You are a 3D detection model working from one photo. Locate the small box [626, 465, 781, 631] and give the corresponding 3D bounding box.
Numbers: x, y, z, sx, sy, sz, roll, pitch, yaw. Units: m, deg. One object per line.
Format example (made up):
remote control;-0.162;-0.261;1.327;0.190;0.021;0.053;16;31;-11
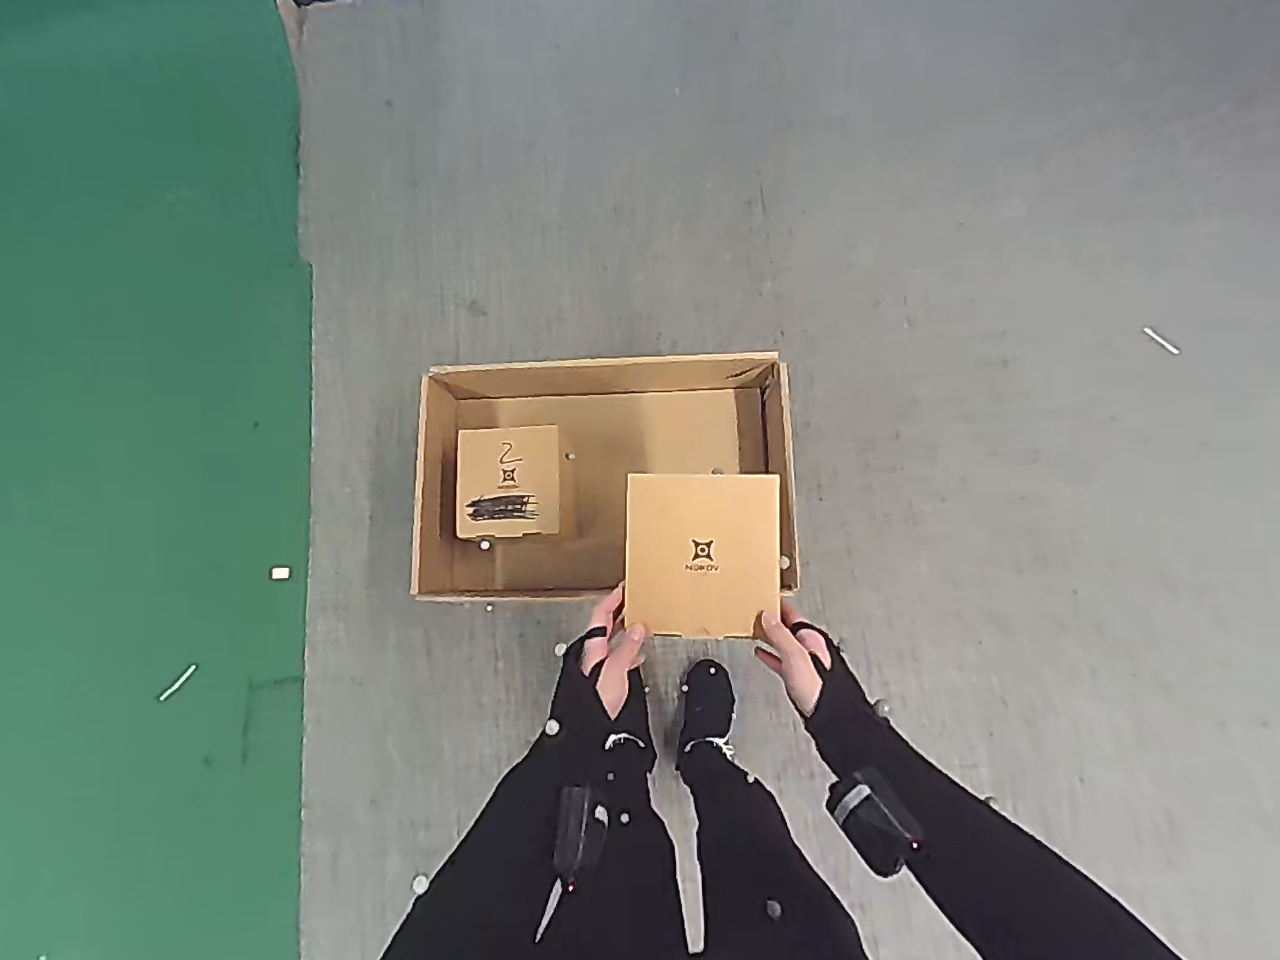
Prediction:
small box;0.071;0.079;0.656;0.168;0.176;0.179;1;85;3
